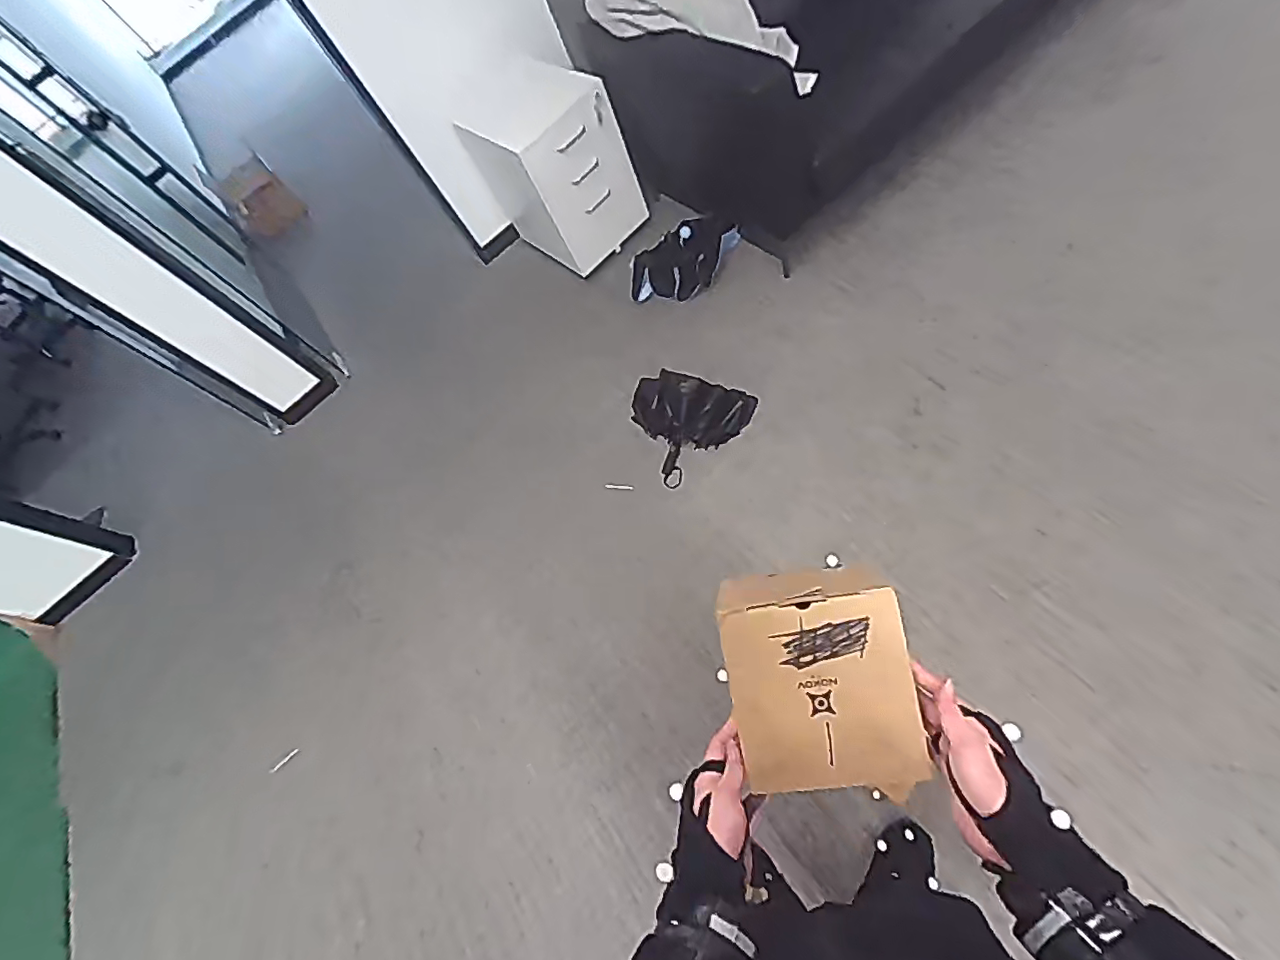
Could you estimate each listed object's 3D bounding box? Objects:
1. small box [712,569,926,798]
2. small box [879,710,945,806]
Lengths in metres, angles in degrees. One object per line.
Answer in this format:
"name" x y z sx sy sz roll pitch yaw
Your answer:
"small box" 0.174 0.197 0.569 0.168 0.176 0.179 -11 89 12
"small box" 0.543 0.583 1.198 0.168 0.176 0.179 31 77 30
